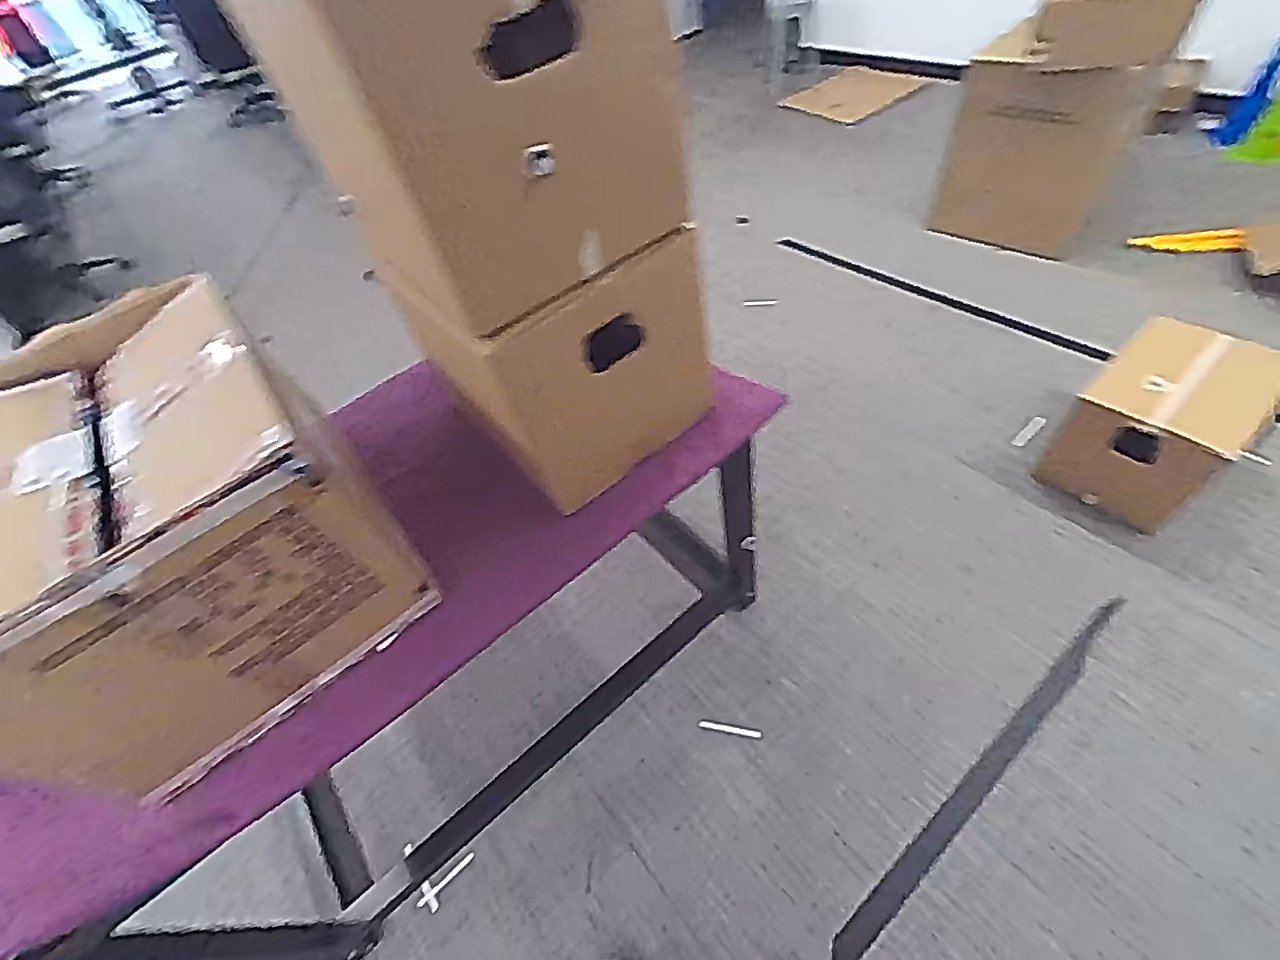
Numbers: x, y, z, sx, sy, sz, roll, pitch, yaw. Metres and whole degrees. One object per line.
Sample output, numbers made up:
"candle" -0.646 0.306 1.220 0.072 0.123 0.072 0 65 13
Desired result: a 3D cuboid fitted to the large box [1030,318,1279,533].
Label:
"large box" 1.327 -0.146 1.411 0.408 0.320 0.320 -39 54 -18
